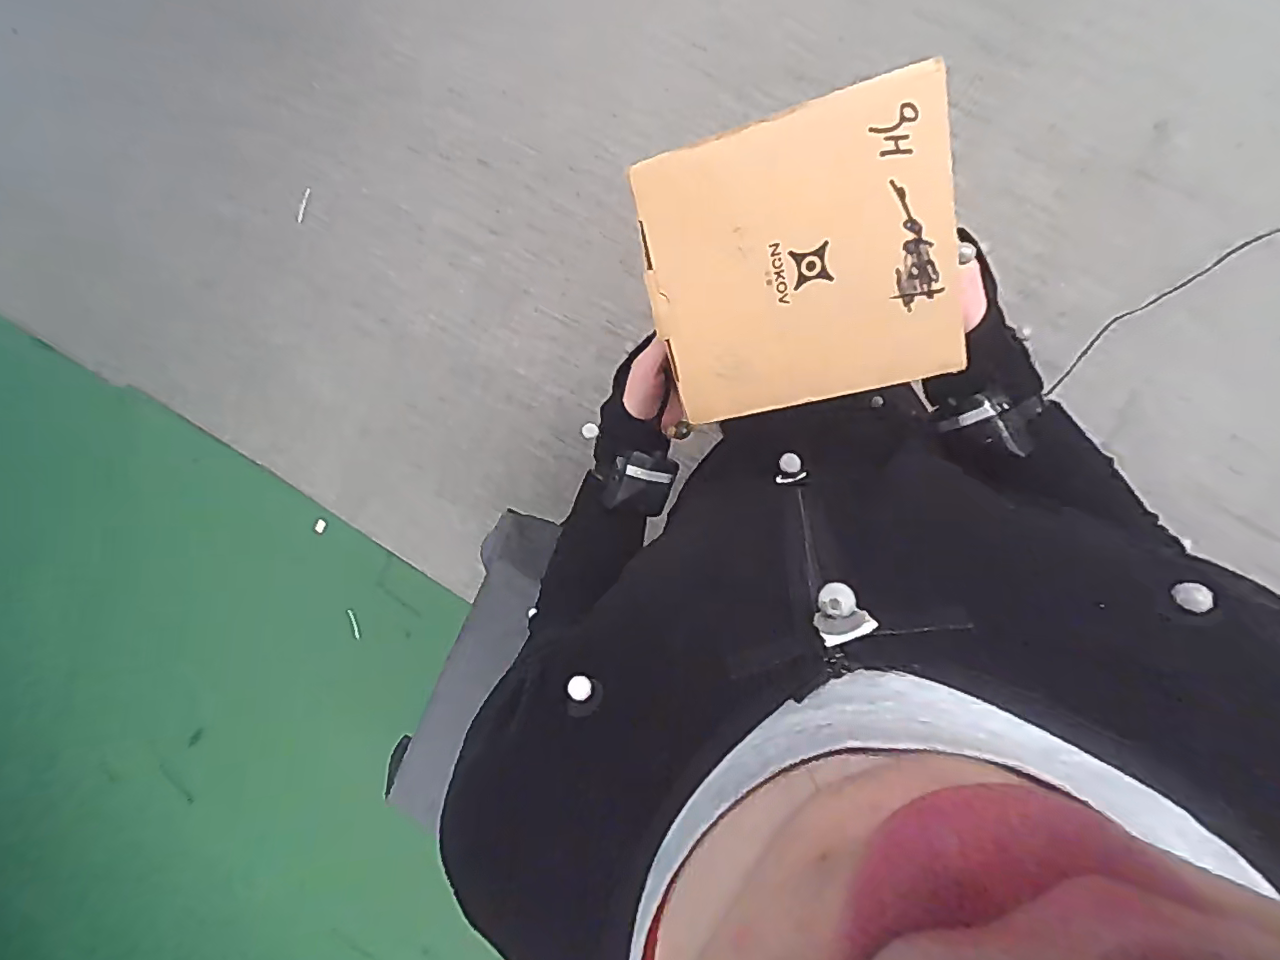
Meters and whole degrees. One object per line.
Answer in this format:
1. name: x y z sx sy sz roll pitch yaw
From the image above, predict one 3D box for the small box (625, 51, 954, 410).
1. small box: 0.108 -0.163 0.398 0.179 0.176 0.168 -9 110 17
